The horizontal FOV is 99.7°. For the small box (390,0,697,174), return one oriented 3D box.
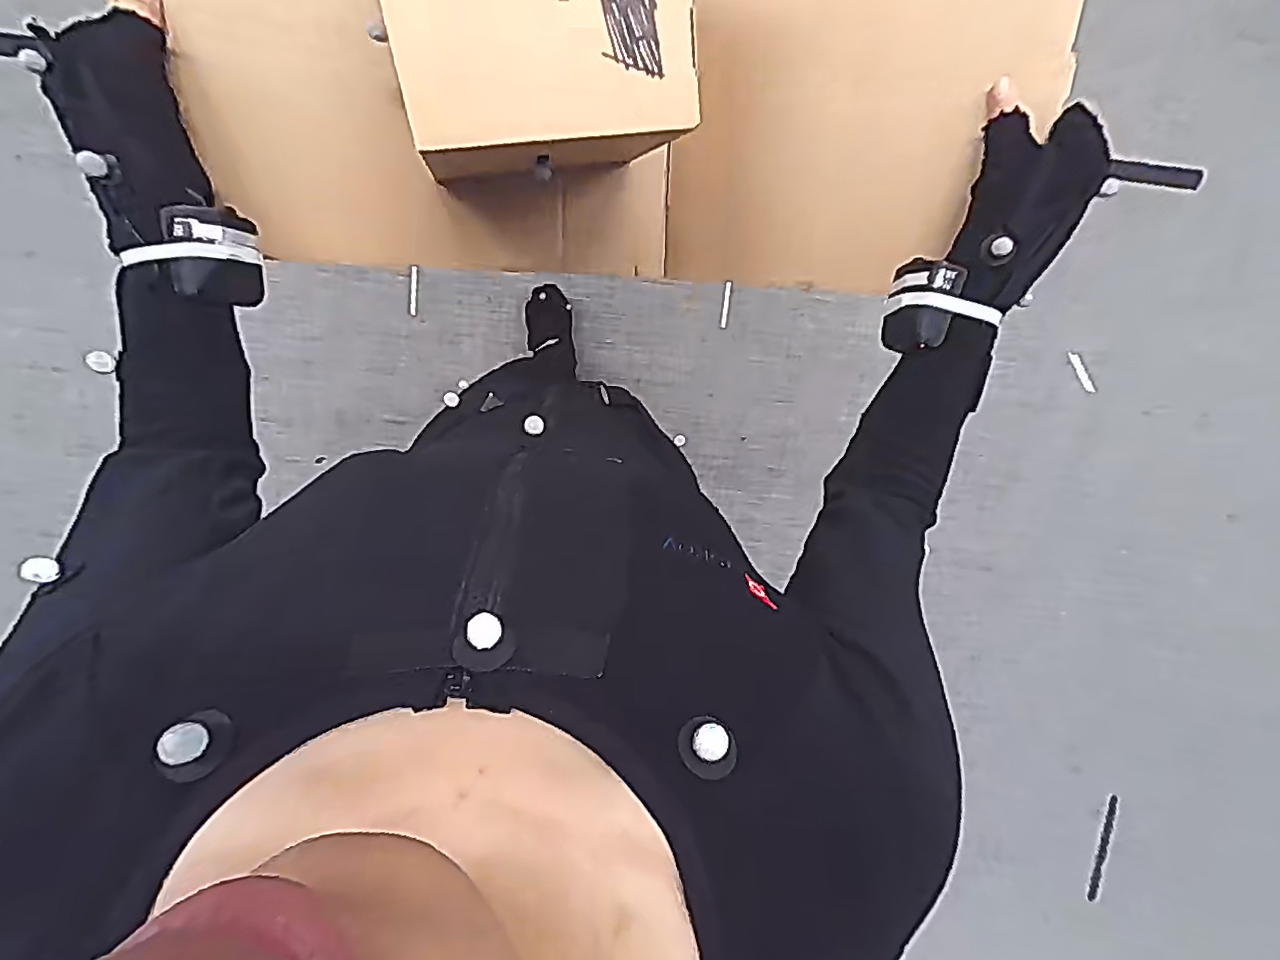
[{"bbox_3d":[-0.074,-0.318,0.373,0.179,0.176,0.168,-12,116,-11],"label":"small box"}]
